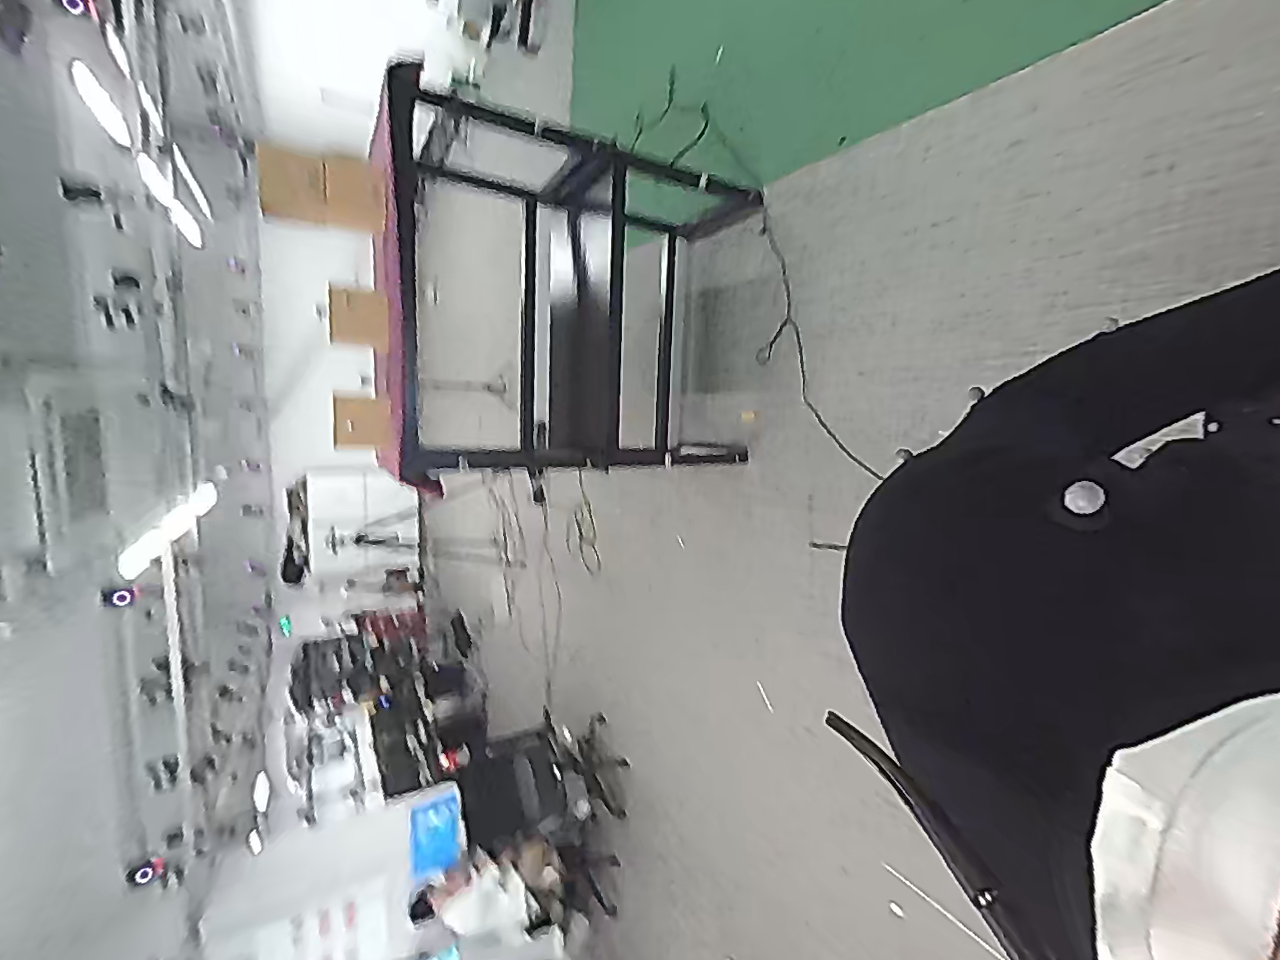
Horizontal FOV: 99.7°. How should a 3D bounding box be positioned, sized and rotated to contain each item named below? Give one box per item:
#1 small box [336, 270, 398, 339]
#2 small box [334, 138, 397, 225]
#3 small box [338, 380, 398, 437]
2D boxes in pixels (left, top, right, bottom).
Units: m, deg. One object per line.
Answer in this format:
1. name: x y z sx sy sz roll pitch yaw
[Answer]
1. small box: -0.883 -0.560 1.747 0.168 0.176 0.179 15 105 59
2. small box: -0.866 -0.930 1.701 0.168 0.176 0.179 14 103 61
3. small box: -0.892 -0.230 1.776 0.168 0.176 0.179 8 97 59
